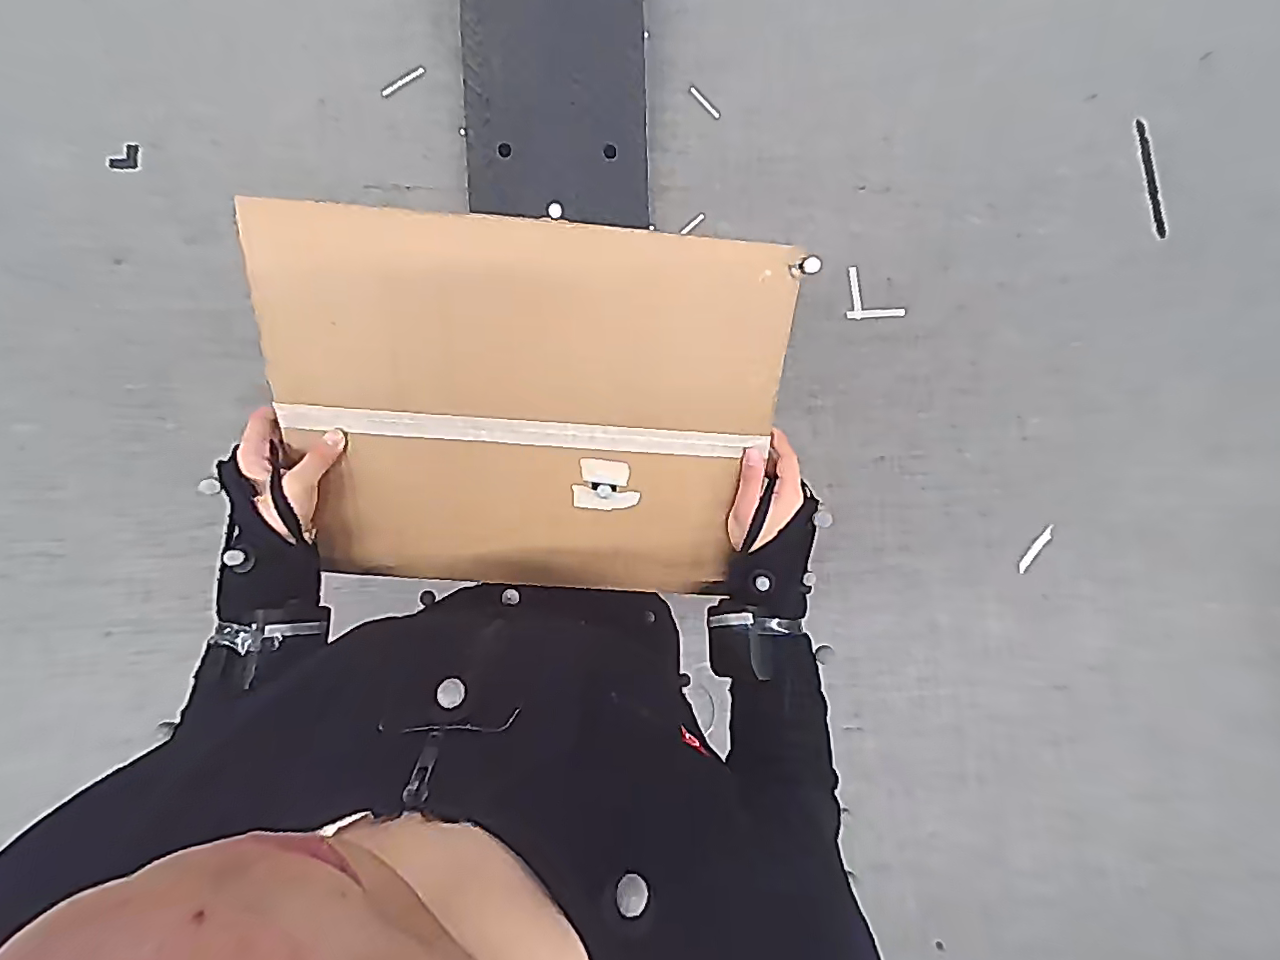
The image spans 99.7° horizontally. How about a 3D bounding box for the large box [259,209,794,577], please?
[{"bbox_3d":[-0.096,-0.111,0.598,0.408,0.320,0.320,3,116,-4],"label":"large box"}]
